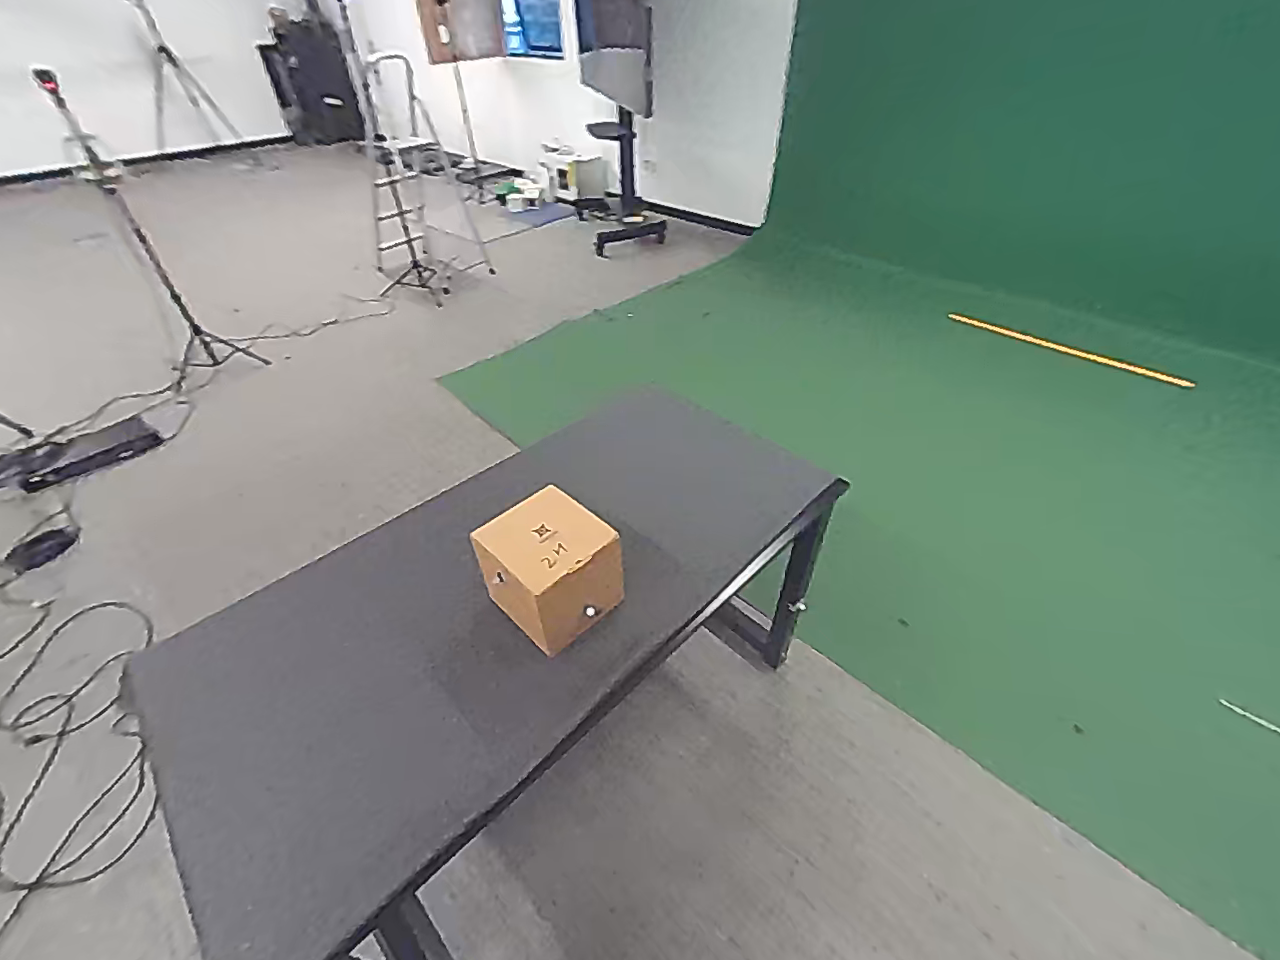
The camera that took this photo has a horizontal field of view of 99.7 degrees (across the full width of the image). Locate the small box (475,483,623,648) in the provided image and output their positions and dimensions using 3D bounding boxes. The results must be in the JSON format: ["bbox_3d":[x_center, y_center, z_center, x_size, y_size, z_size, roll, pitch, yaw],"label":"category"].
[{"bbox_3d":[-0.144,0.141,0.898,0.179,0.176,0.168,33,52,32],"label":"small box"}]
